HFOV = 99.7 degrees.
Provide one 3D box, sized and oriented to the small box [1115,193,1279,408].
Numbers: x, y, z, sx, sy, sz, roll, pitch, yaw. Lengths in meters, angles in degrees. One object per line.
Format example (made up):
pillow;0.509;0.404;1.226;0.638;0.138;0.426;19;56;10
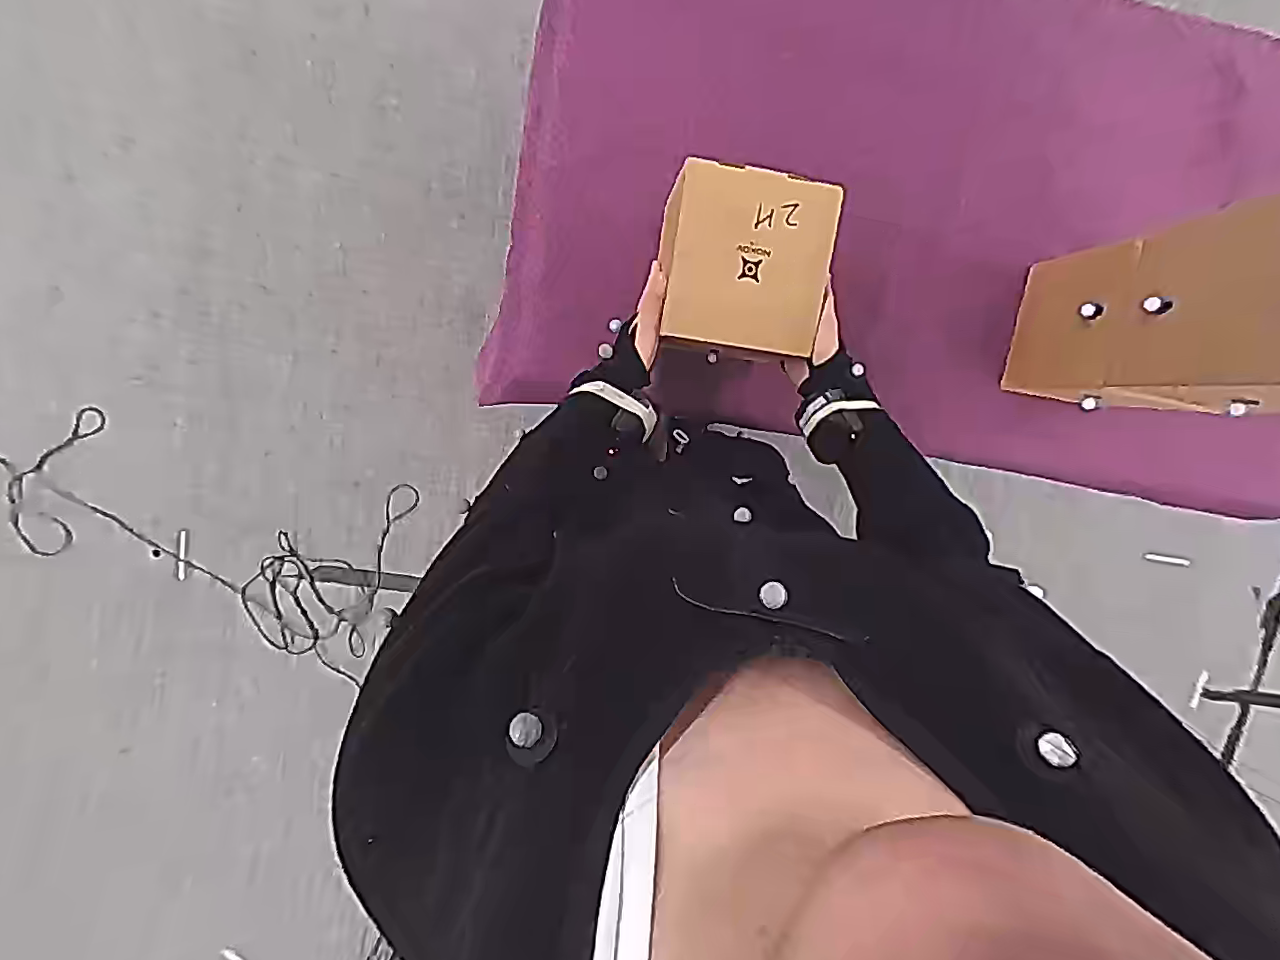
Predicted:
small box;0.639;-0.169;0.542;0.168;0.176;0.179;10;99;-6

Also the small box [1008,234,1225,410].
small box;0.625;-0.193;0.703;0.168;0.176;0.179;9;99;-6

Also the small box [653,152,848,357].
small box;0.112;-0.243;0.631;0.168;0.176;0.179;7;100;-7
